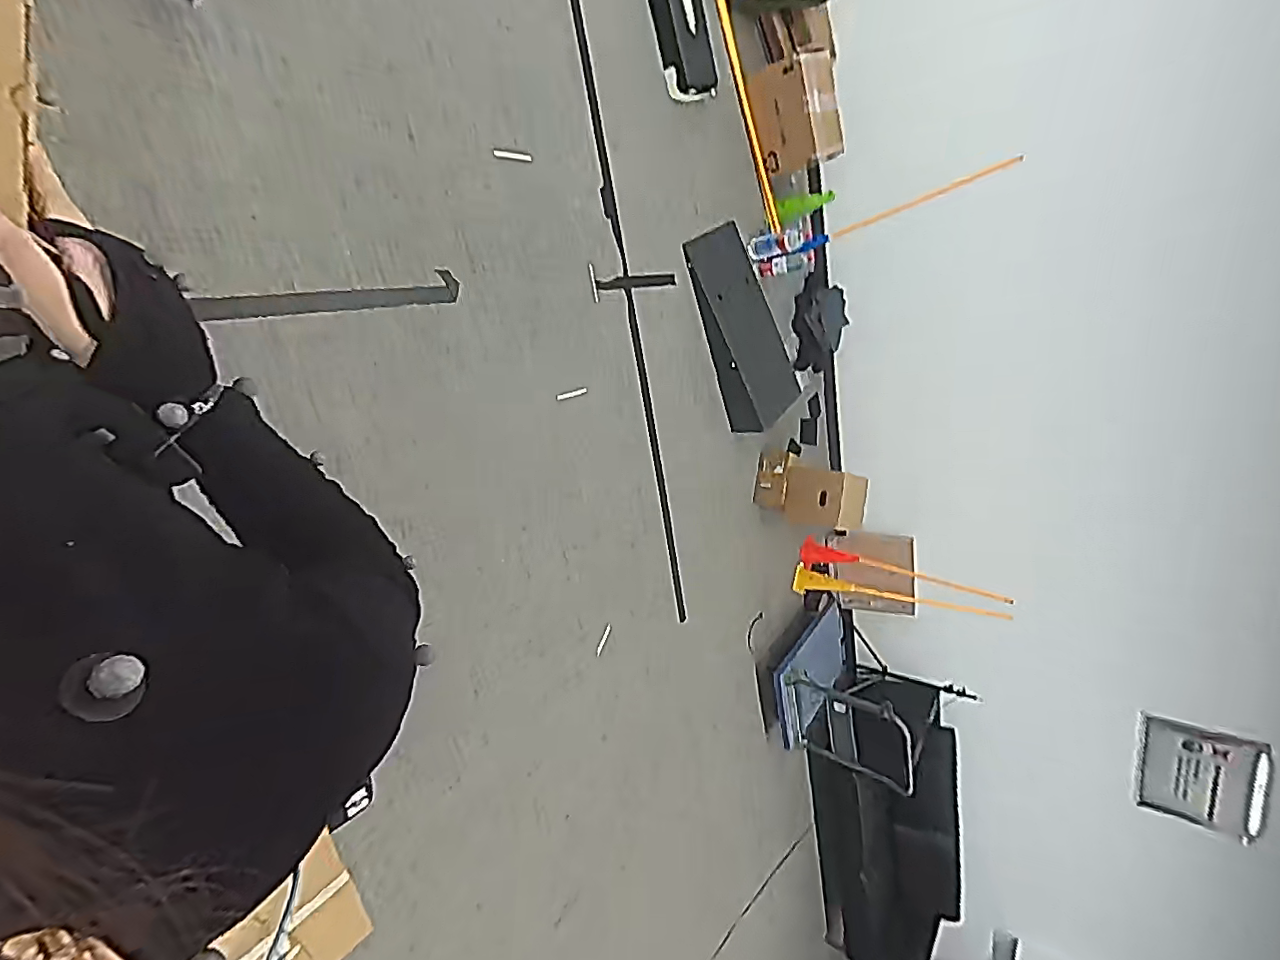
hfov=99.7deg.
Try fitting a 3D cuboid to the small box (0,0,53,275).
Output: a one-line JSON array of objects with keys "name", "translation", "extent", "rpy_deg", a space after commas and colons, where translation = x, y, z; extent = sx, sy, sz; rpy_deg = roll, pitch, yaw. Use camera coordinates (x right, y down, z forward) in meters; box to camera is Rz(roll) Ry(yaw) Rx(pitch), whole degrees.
[{"name": "small box", "translation": [-0.449, -0.219, 0.284], "extent": [0.179, 0.176, 0.168], "rpy_deg": [1, 93, -51]}]

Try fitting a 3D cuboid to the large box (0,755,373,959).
[{"name": "large box", "translation": [-0.789, 0.801, 0.975], "extent": [0.408, 0.320, 0.320], "rpy_deg": [-29, 114, -46]}]
